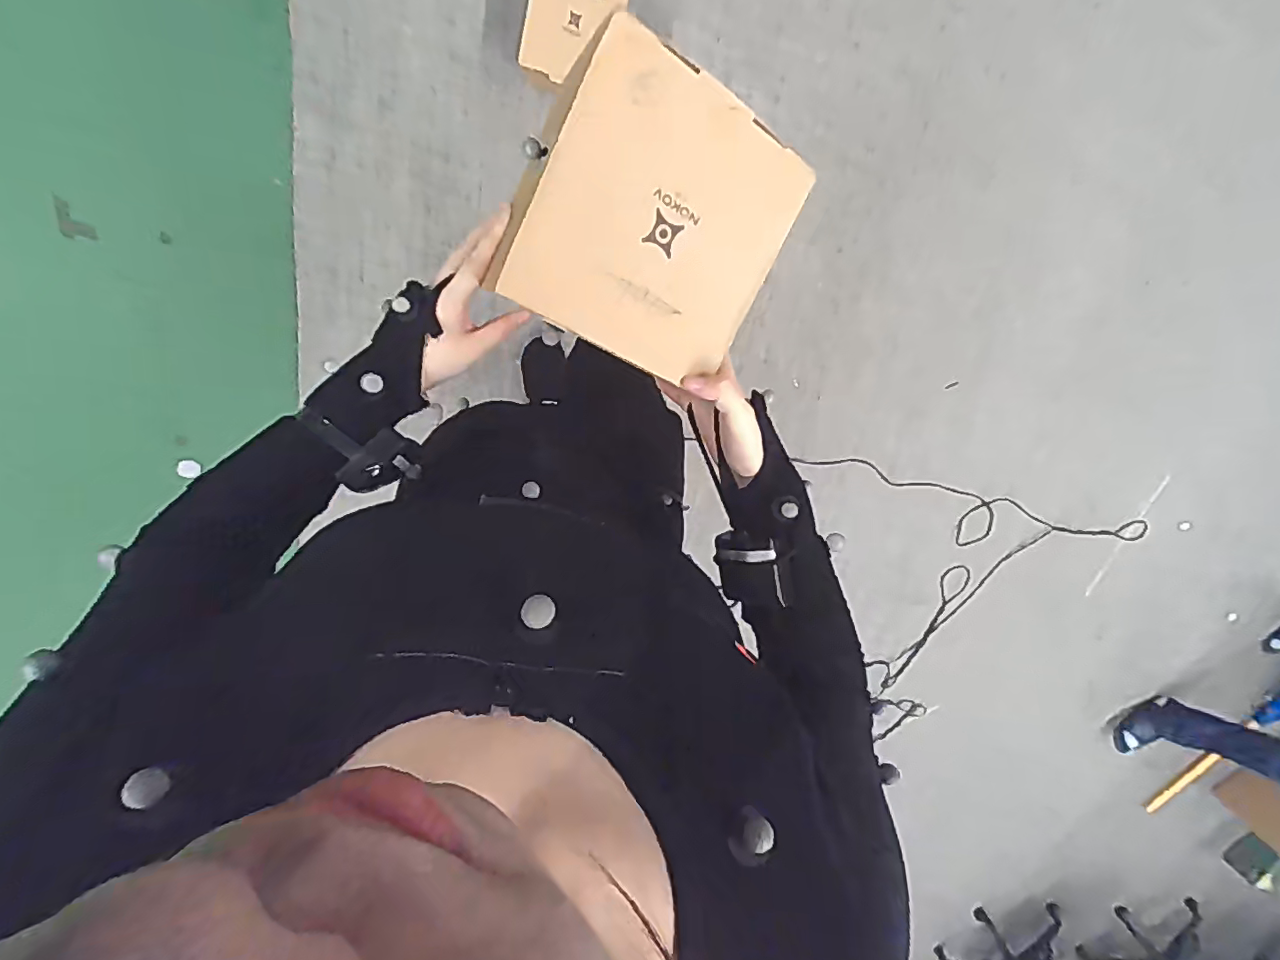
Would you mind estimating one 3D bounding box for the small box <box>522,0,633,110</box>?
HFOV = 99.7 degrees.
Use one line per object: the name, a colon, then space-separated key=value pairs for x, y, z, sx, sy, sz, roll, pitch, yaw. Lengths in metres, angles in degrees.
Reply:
small box: x=-0.115 y=-0.844 z=1.036 sx=0.168 sy=0.176 sz=0.179 roll=15 pitch=114 yaw=-11
